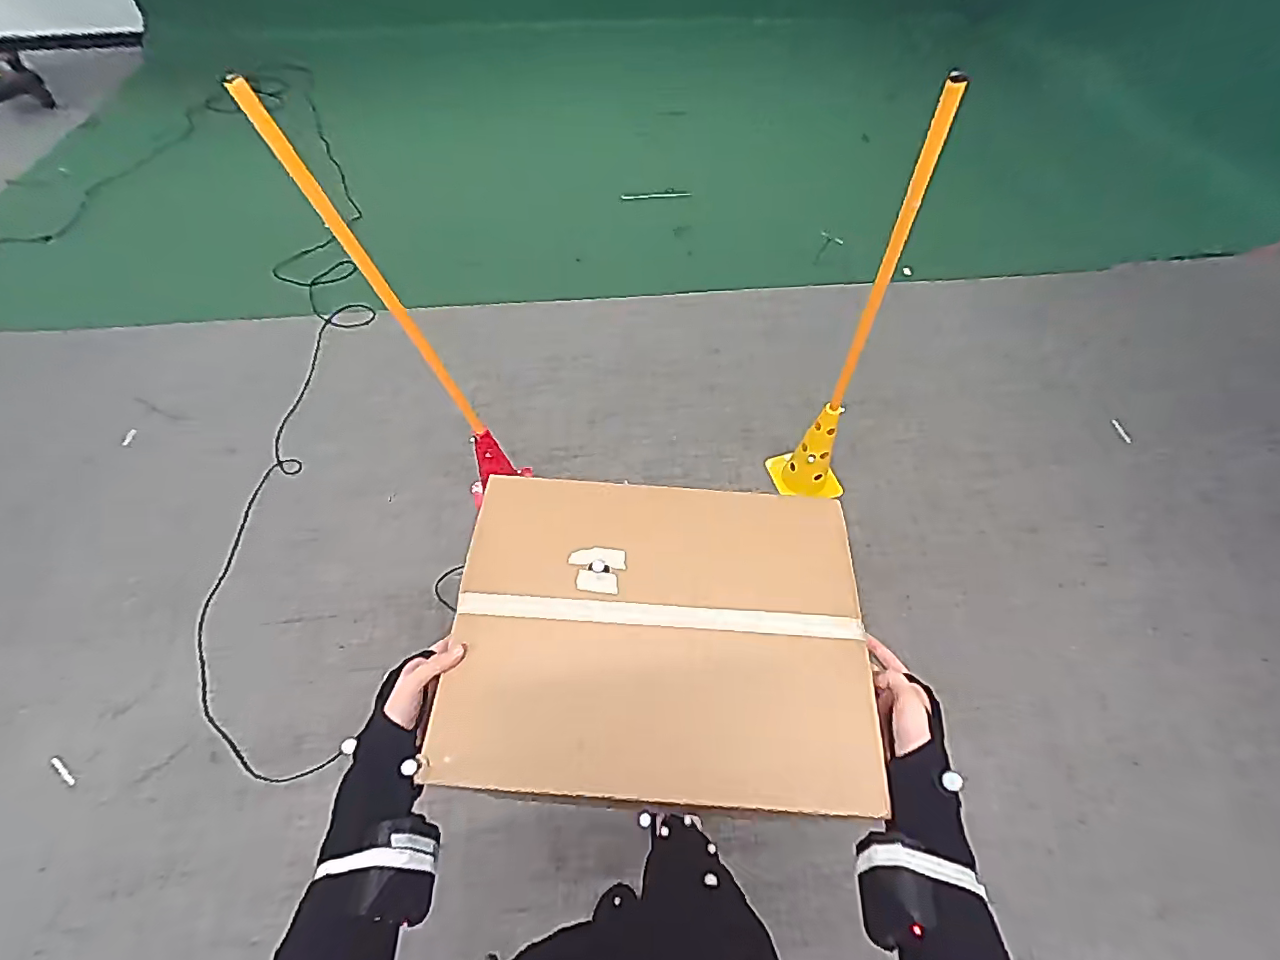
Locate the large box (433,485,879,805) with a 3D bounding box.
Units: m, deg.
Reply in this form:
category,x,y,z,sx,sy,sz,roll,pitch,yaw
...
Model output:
category,x,y,z,sx,sy,sz,roll,pitch,yaw
large box,0.021,0.222,0.681,0.408,0.320,0.320,3,56,1
